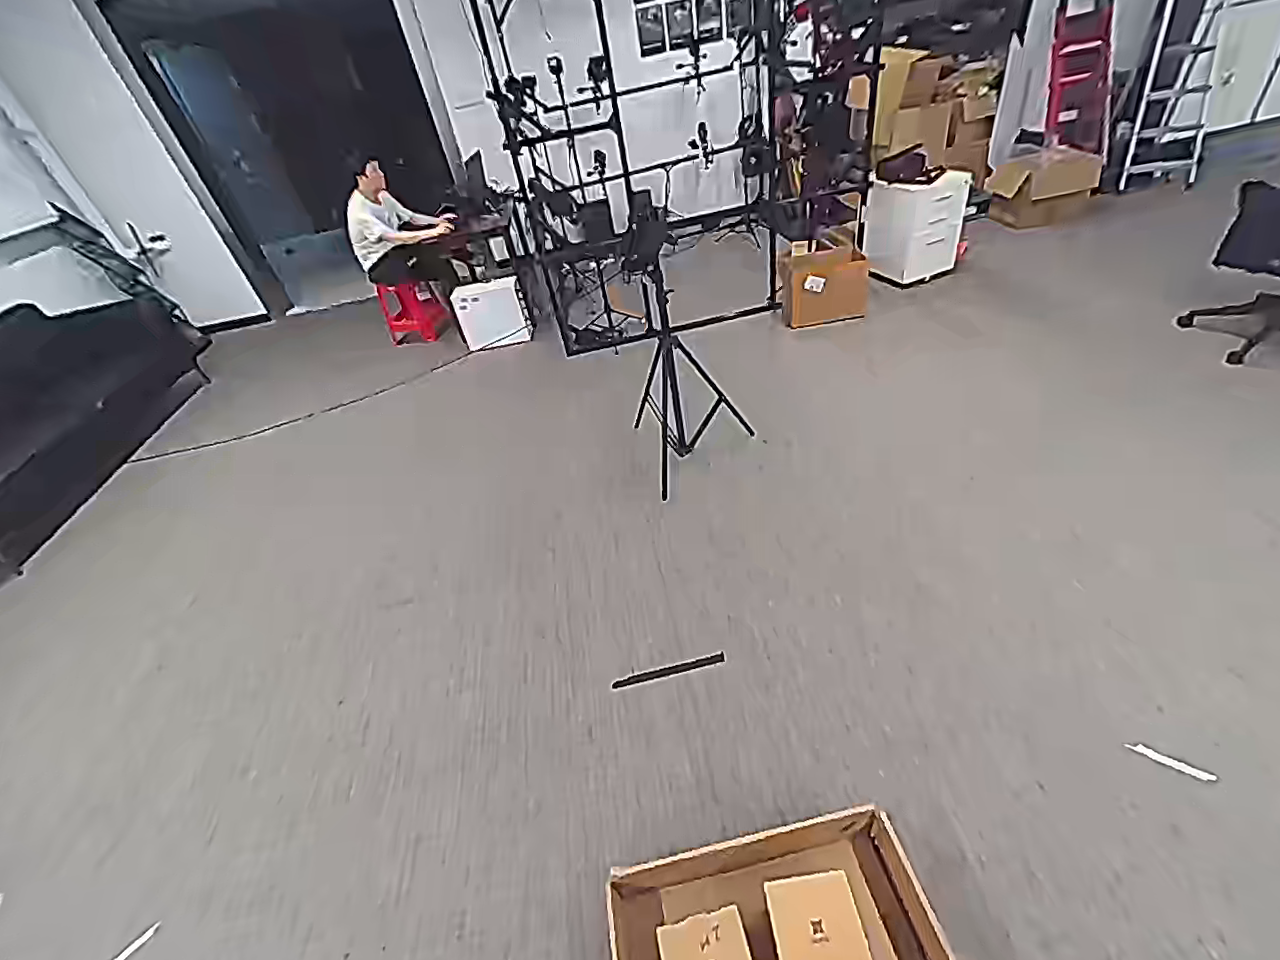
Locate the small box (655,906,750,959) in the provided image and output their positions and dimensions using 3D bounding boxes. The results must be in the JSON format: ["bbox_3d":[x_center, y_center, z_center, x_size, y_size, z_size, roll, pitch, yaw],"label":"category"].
[{"bbox_3d":[0.136,0.963,1.036,0.168,0.176,0.179,-13,39,-4],"label":"small box"}]

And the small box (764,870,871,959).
[{"bbox_3d":[0.344,0.903,1.059,0.168,0.176,0.179,-11,39,3],"label":"small box"}]
